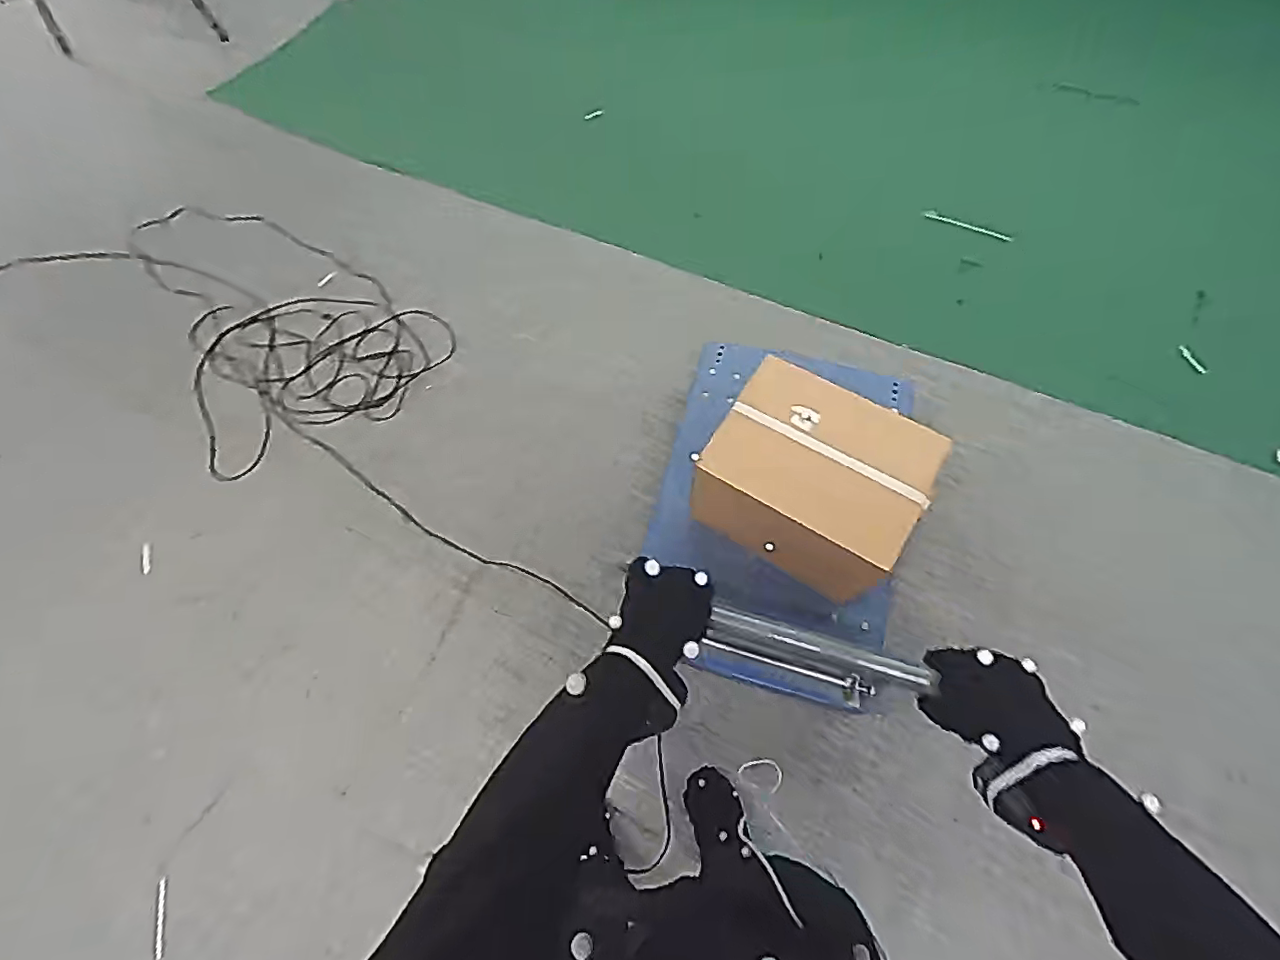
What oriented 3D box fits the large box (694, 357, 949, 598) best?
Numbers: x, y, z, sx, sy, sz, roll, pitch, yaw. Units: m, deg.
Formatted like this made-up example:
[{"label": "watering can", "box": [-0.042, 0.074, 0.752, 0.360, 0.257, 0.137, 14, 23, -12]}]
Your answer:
[{"label": "large box", "box": [0.366, 0.007, 1.188, 0.408, 0.320, 0.320, 30, 71, 16]}]
